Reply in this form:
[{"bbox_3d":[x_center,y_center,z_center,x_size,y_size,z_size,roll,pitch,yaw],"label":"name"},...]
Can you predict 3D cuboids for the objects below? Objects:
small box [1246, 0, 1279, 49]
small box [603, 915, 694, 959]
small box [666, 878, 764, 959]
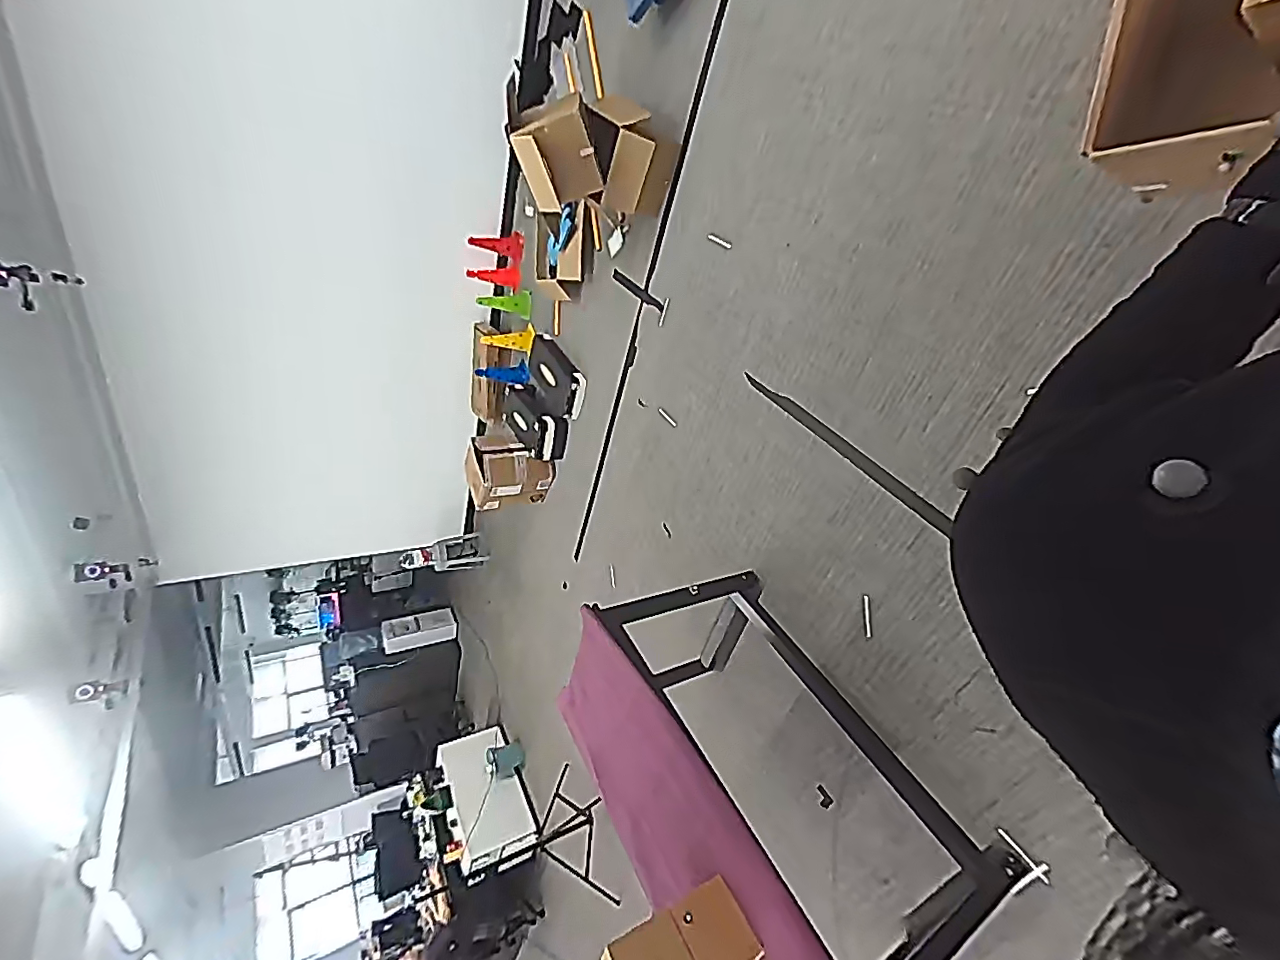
[{"bbox_3d":[0.644,-0.475,0.421,0.179,0.176,0.168,26,117,53],"label":"small box"},{"bbox_3d":[0.026,1.109,1.189,0.179,0.176,0.168,47,132,43],"label":"small box"},{"bbox_3d":[0.164,1.100,1.279,0.179,0.176,0.168,47,132,44],"label":"small box"}]
